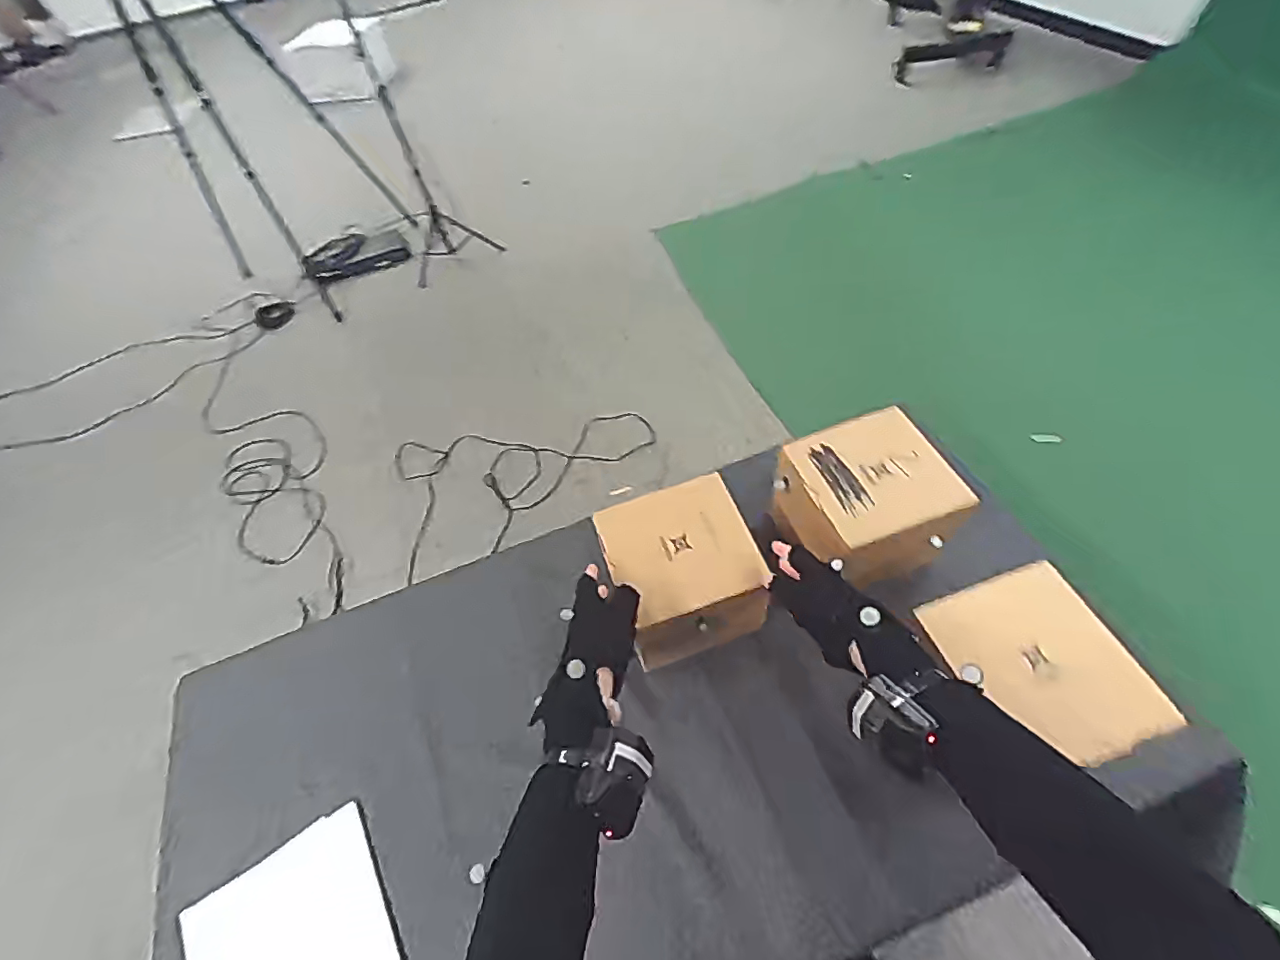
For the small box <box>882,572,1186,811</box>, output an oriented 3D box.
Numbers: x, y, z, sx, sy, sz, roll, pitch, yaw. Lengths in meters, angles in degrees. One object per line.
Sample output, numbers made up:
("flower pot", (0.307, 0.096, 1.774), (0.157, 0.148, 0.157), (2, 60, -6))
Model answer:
("small box", (0.395, 0.232, 0.588), (0.168, 0.176, 0.179), (-18, 54, -6))
